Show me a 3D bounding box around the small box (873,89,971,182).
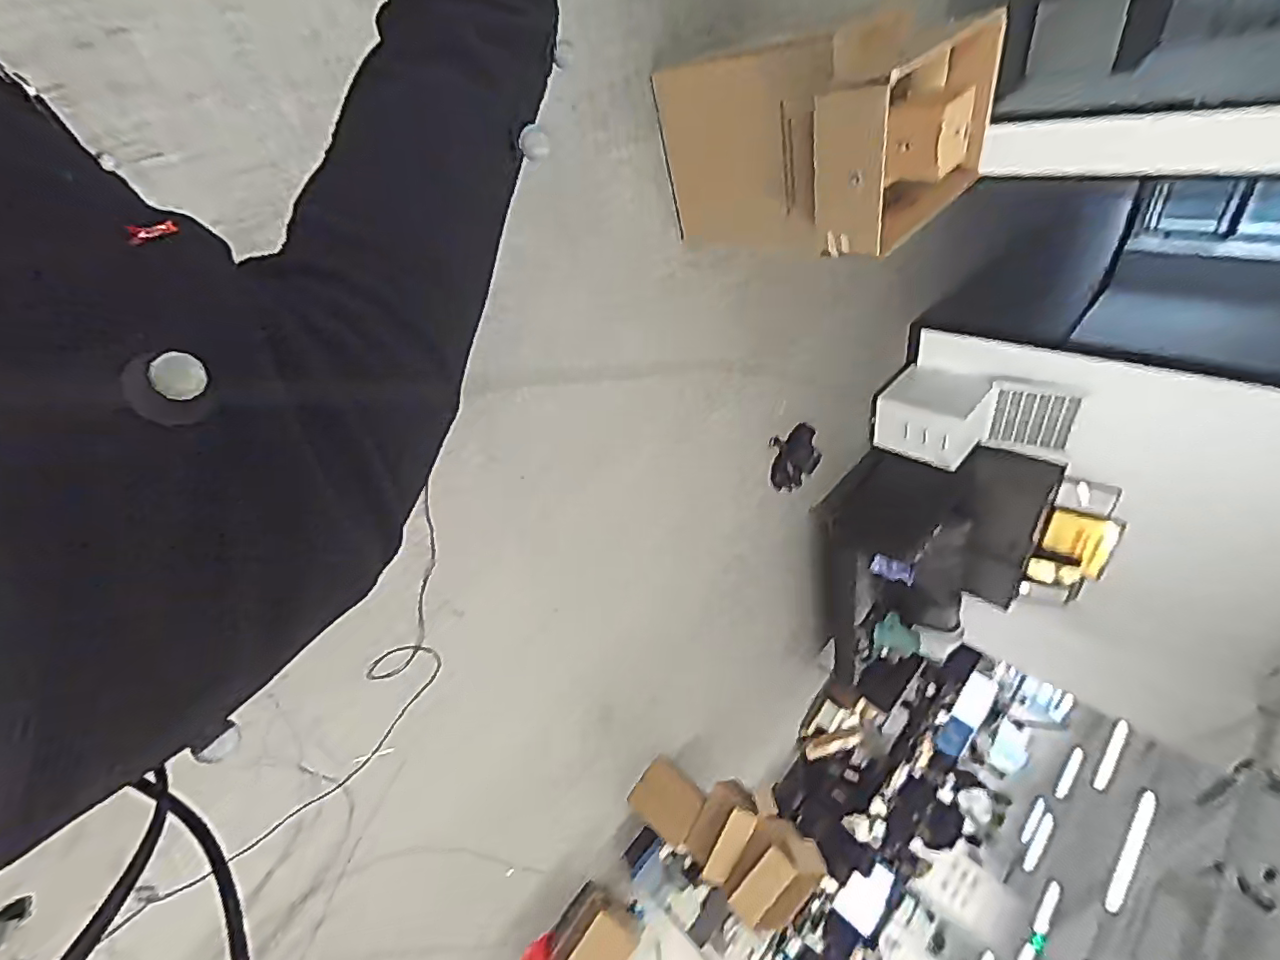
[{"bbox_3d":[0.737,-0.905,1.428,0.179,0.176,0.168,-42,137,-23],"label":"small box"}]
